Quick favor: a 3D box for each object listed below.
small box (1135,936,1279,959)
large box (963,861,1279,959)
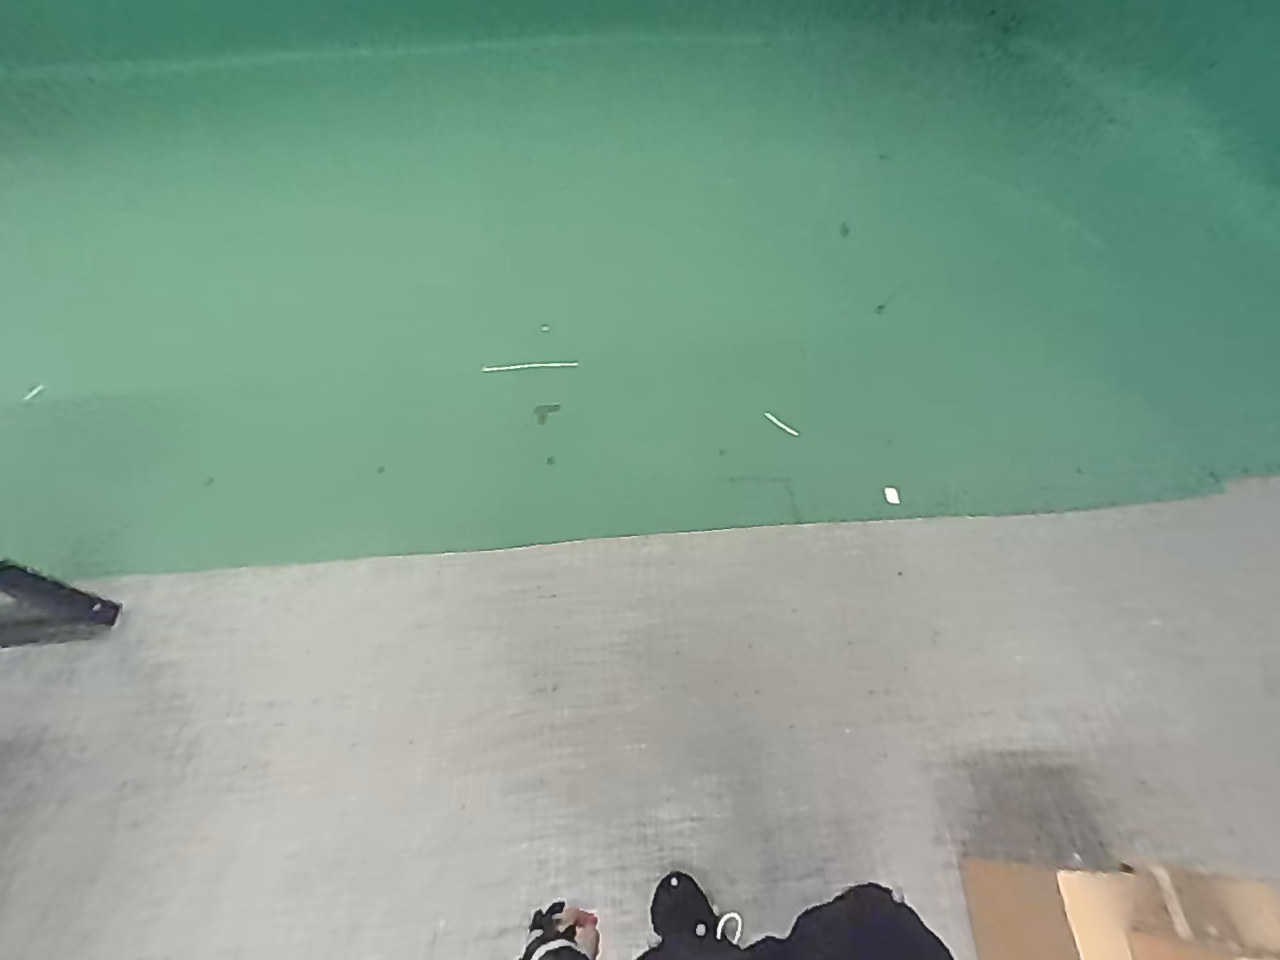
[{"bbox_3d":[0.761,0.674,0.641,0.168,0.176,0.179,3,57,1],"label":"small box"},{"bbox_3d":[0.769,0.839,0.824,0.320,0.320,0.408,1,59,3],"label":"large box"}]
